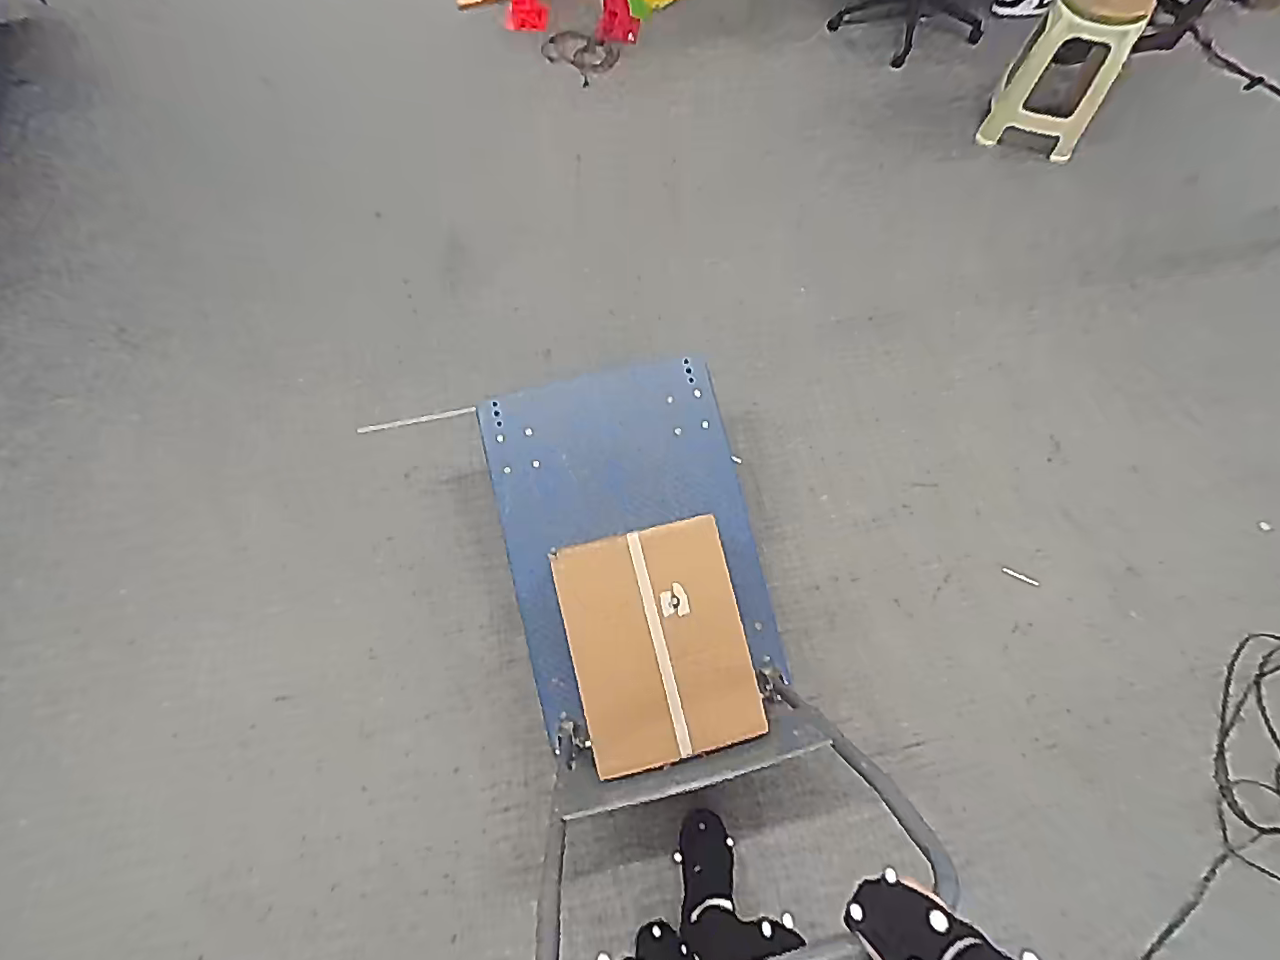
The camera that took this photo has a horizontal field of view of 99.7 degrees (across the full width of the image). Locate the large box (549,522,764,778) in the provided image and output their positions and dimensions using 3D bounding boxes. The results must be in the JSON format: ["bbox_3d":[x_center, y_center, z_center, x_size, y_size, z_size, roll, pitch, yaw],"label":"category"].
[{"bbox_3d":[0.024,0.323,1.138,0.320,0.320,0.408,-14,84,-5],"label":"large box"}]
